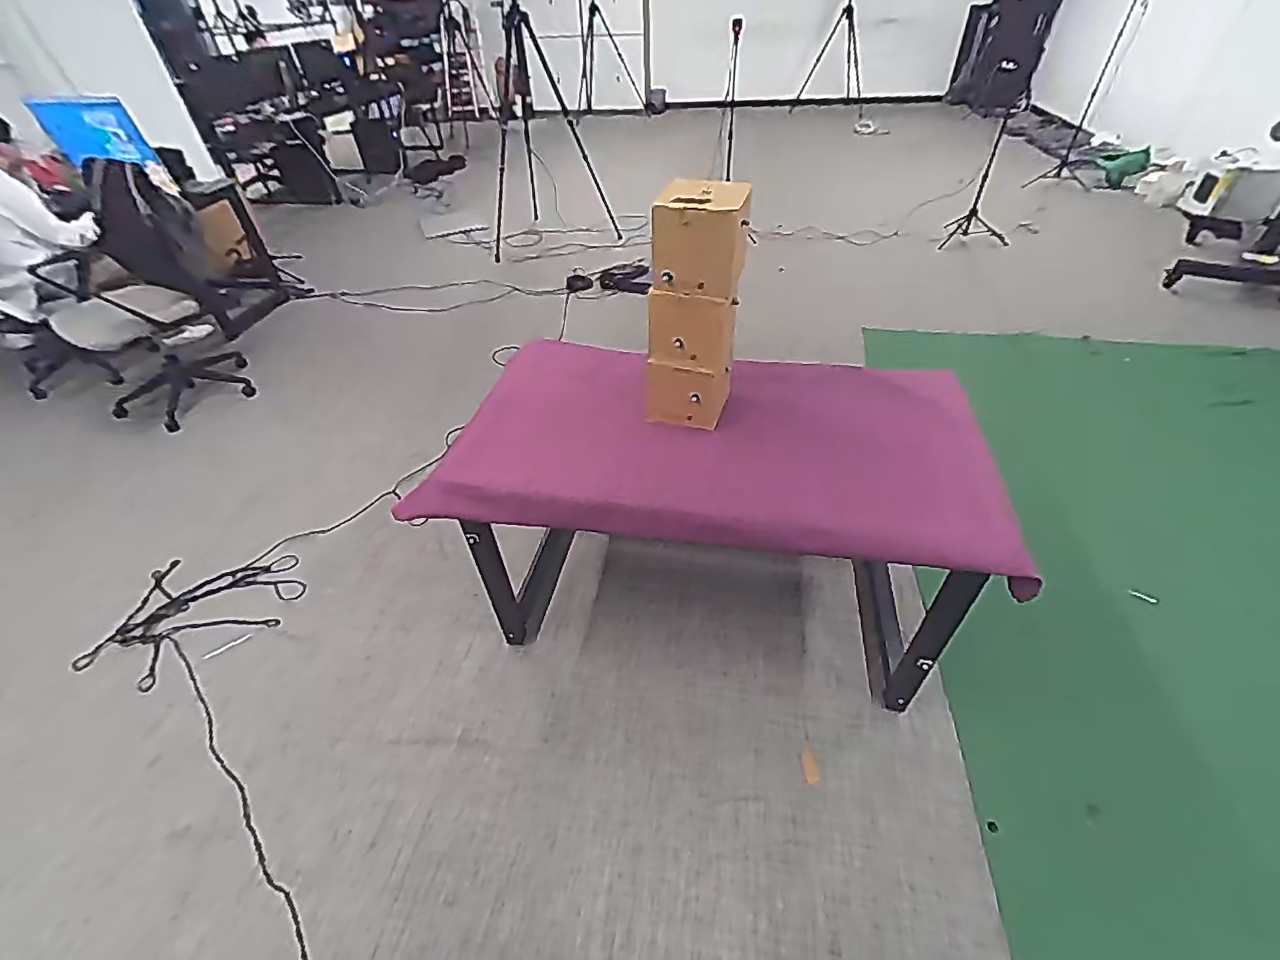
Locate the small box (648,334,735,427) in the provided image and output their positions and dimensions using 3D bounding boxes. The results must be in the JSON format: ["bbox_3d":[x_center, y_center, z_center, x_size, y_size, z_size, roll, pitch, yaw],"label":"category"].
[{"bbox_3d":[0.127,-0.251,1.316,0.168,0.176,0.179,13,45,16],"label":"small box"}]

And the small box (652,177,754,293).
[{"bbox_3d":[0.129,-0.499,1.104,0.168,0.176,0.179,12,45,14],"label":"small box"}]

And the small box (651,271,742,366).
[{"bbox_3d":[0.124,-0.376,1.213,0.168,0.176,0.179,11,46,13],"label":"small box"}]
